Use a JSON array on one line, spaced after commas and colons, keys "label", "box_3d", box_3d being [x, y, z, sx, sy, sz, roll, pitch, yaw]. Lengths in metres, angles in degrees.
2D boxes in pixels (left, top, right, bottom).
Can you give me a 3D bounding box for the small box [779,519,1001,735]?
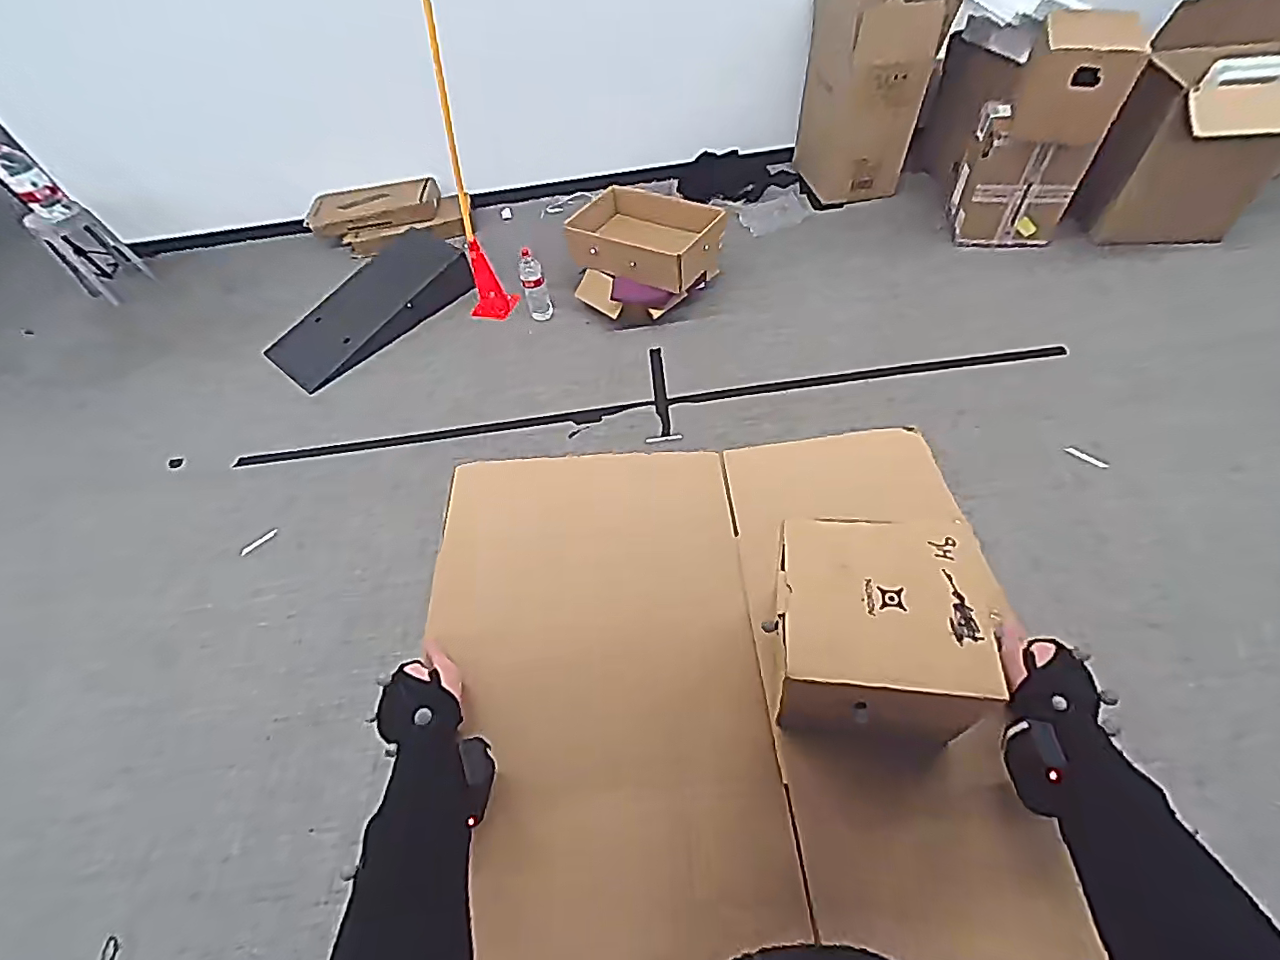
[{"label": "small box", "box_3d": [0.237, 0.156, 0.567, 0.179, 0.176, 0.168, 1, 54, 13]}]
